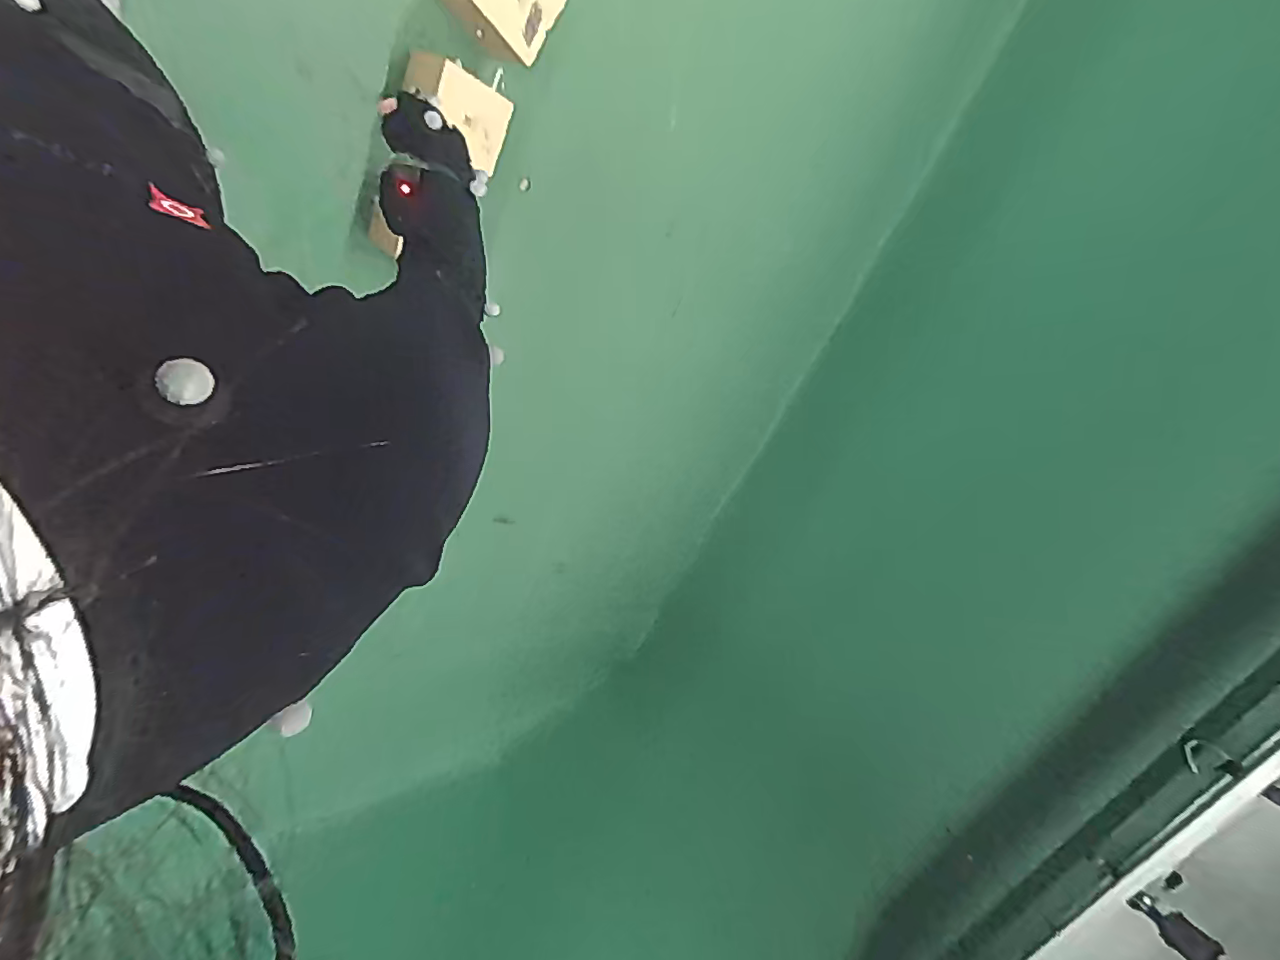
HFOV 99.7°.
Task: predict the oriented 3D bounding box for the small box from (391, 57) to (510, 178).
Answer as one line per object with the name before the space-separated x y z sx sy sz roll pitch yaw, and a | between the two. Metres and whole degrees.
small box | -0.438 -0.828 1.235 0.179 0.176 0.168 0 123 -52

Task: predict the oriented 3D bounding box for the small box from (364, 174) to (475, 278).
small box | -0.540 -0.619 1.321 0.179 0.176 0.168 -5 126 -50

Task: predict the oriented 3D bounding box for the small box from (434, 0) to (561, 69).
small box | -0.314 -1.046 1.171 0.168 0.176 0.179 -57 147 8
